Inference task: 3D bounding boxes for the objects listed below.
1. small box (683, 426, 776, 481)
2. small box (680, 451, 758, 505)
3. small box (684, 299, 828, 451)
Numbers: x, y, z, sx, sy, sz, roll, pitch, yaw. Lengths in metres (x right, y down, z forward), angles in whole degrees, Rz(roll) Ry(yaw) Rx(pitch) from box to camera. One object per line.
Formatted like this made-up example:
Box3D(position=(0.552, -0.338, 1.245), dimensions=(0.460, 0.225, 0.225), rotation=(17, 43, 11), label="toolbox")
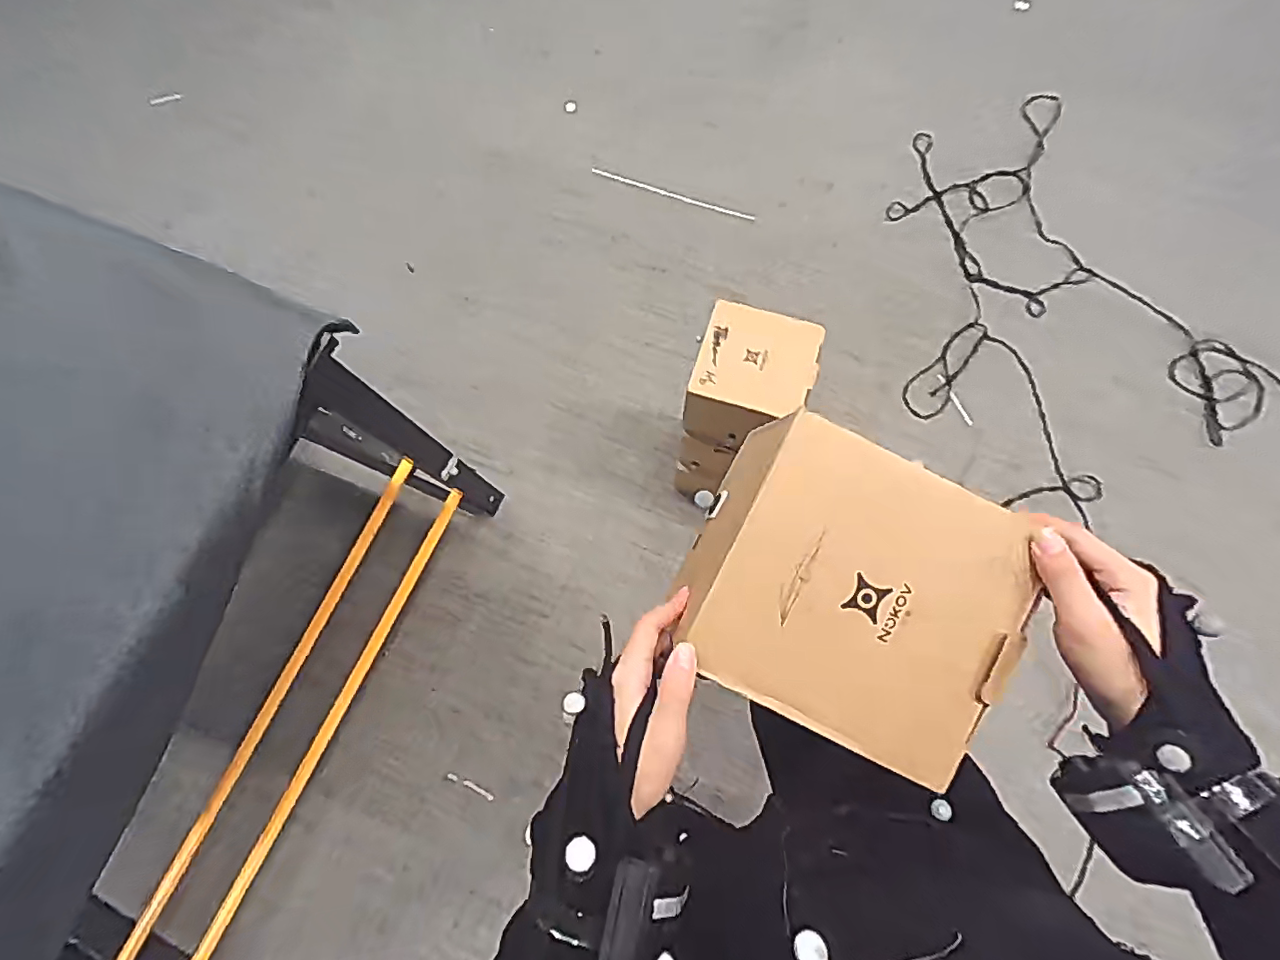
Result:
Box3D(position=(0.186, -0.115, 1.043), dimensions=(0.168, 0.176, 0.179), rotation=(18, 76, 7), label="small box")
Box3D(position=(0.187, -0.063, 1.199), dimensions=(0.168, 0.176, 0.179), rotation=(17, 77, 7), label="small box")
Box3D(position=(0.180, -0.160, 0.886), dimensions=(0.179, 0.176, 0.168), rotation=(18, 77, 6), label="small box")
